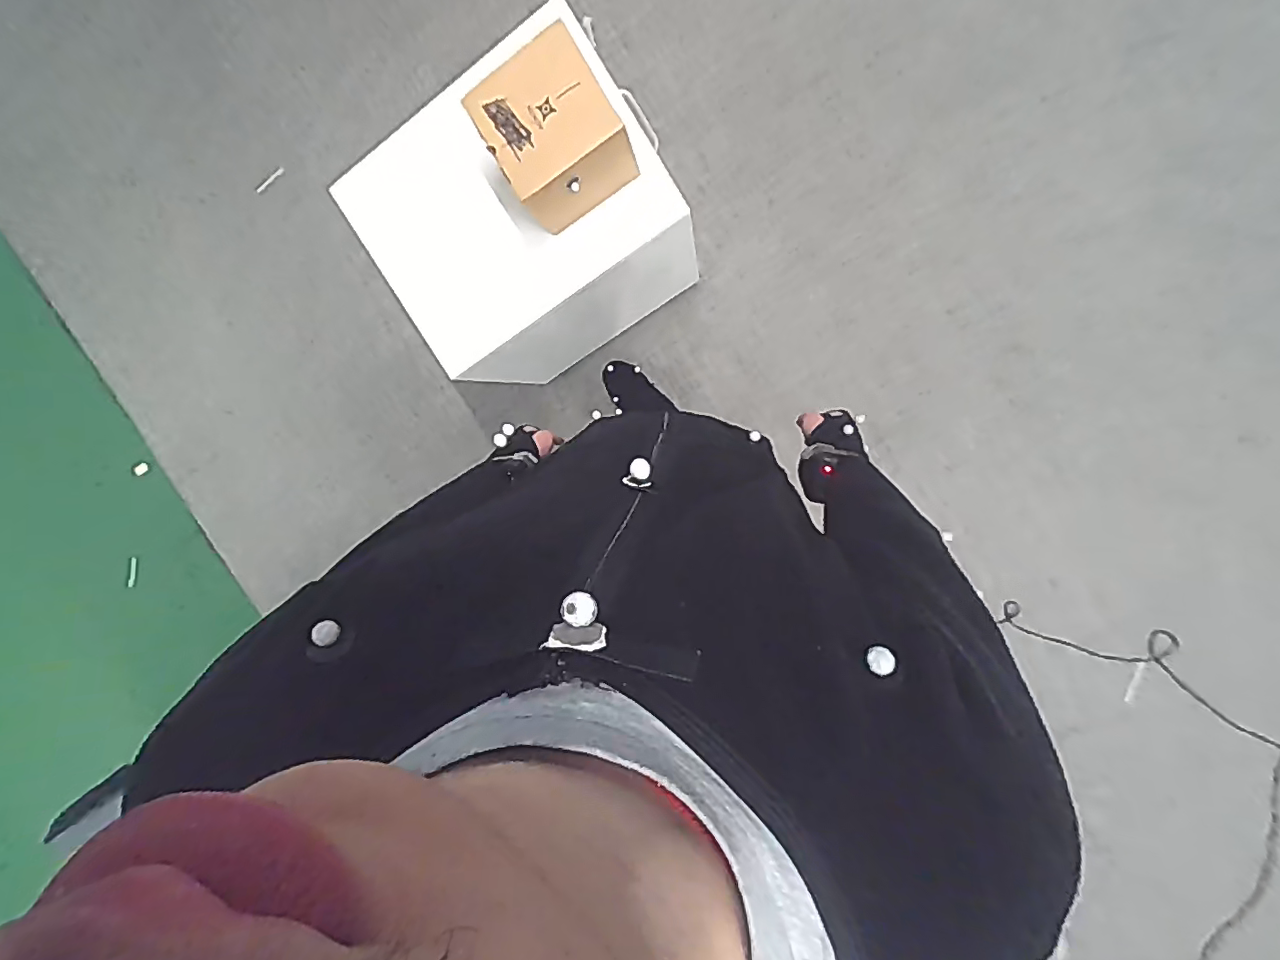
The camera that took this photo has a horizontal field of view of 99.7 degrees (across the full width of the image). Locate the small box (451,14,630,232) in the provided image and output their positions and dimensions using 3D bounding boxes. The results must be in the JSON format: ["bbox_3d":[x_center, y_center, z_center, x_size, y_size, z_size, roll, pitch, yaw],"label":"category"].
[{"bbox_3d":[-0.131,-0.498,0.790,0.179,0.176,0.168,-32,95,9],"label":"small box"}]
